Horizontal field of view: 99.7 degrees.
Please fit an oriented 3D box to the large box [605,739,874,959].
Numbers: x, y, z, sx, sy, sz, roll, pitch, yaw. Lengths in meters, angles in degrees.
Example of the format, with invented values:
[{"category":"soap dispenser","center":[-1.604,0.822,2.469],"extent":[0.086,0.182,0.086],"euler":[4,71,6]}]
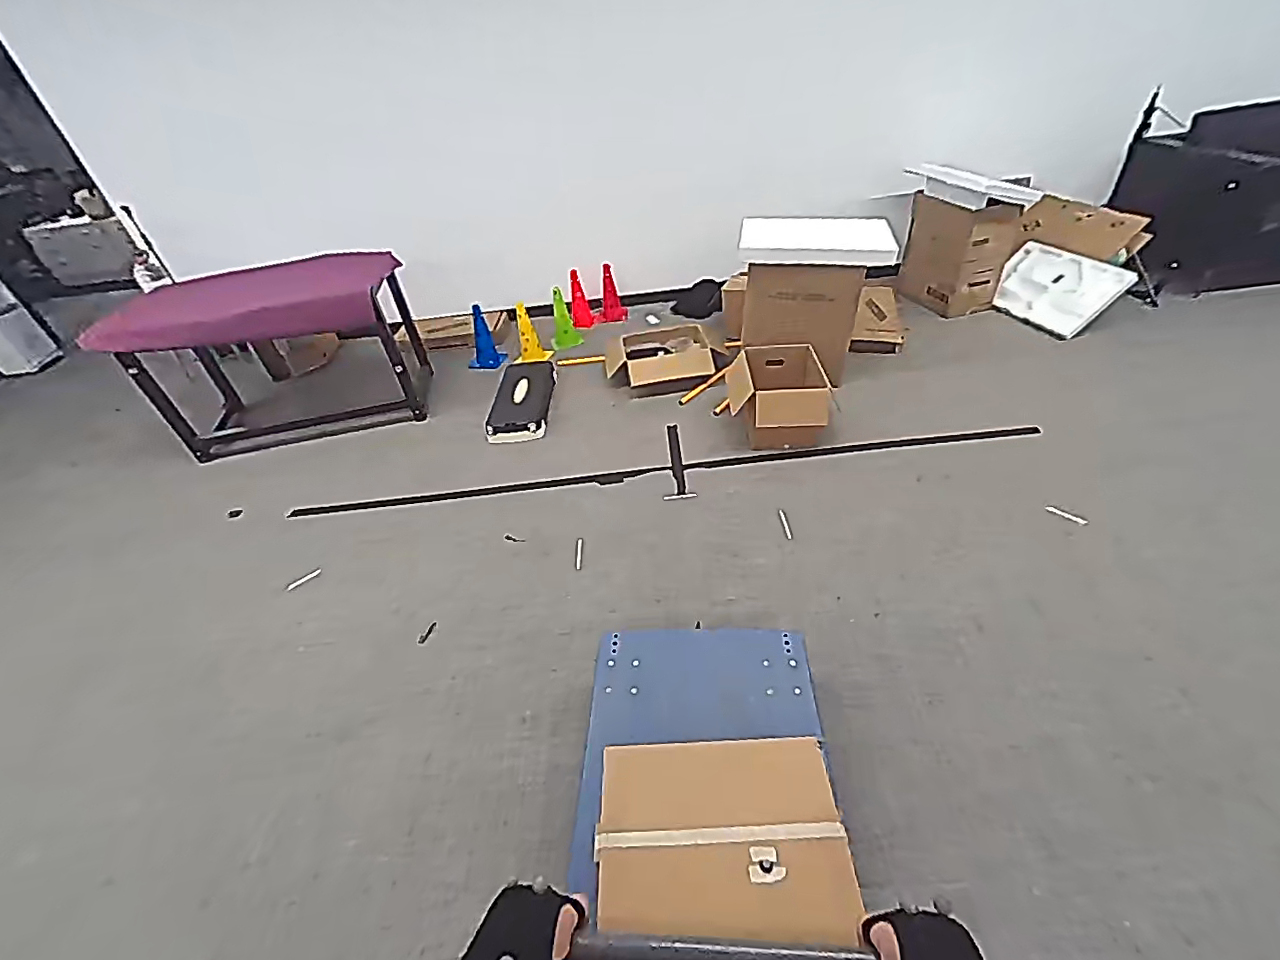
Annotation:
[{"category":"large box","center":[0.149,0.714,0.995],"extent":[0.408,0.320,0.320],"euler":[-4,40,1]}]
